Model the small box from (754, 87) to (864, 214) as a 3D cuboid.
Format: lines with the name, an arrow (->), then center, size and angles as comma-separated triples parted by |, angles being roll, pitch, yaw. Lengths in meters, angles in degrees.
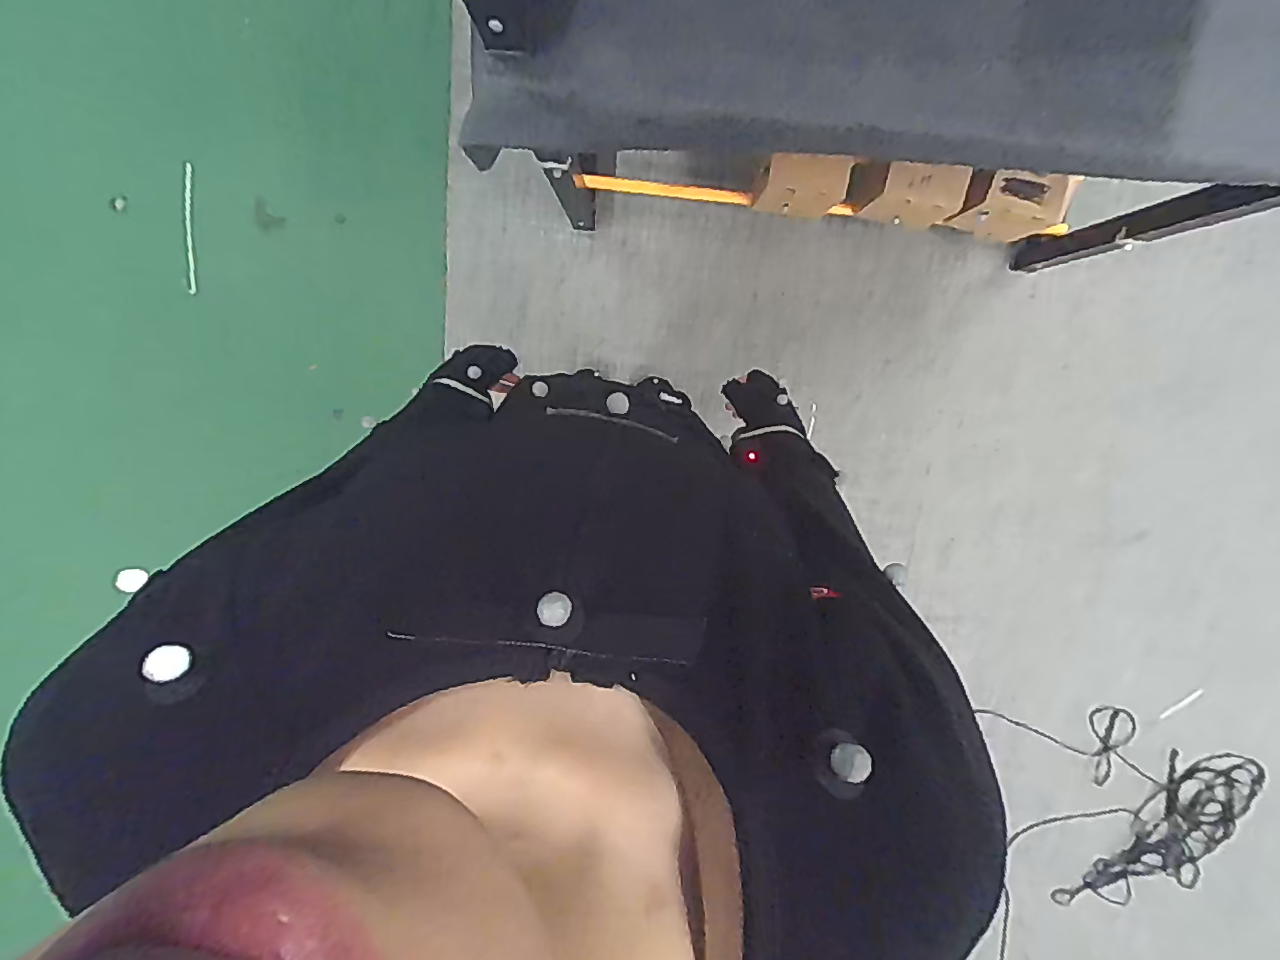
small box -> 0.349, -0.690, 1.152 | 0.168, 0.176, 0.179 | 8, 104, -1
